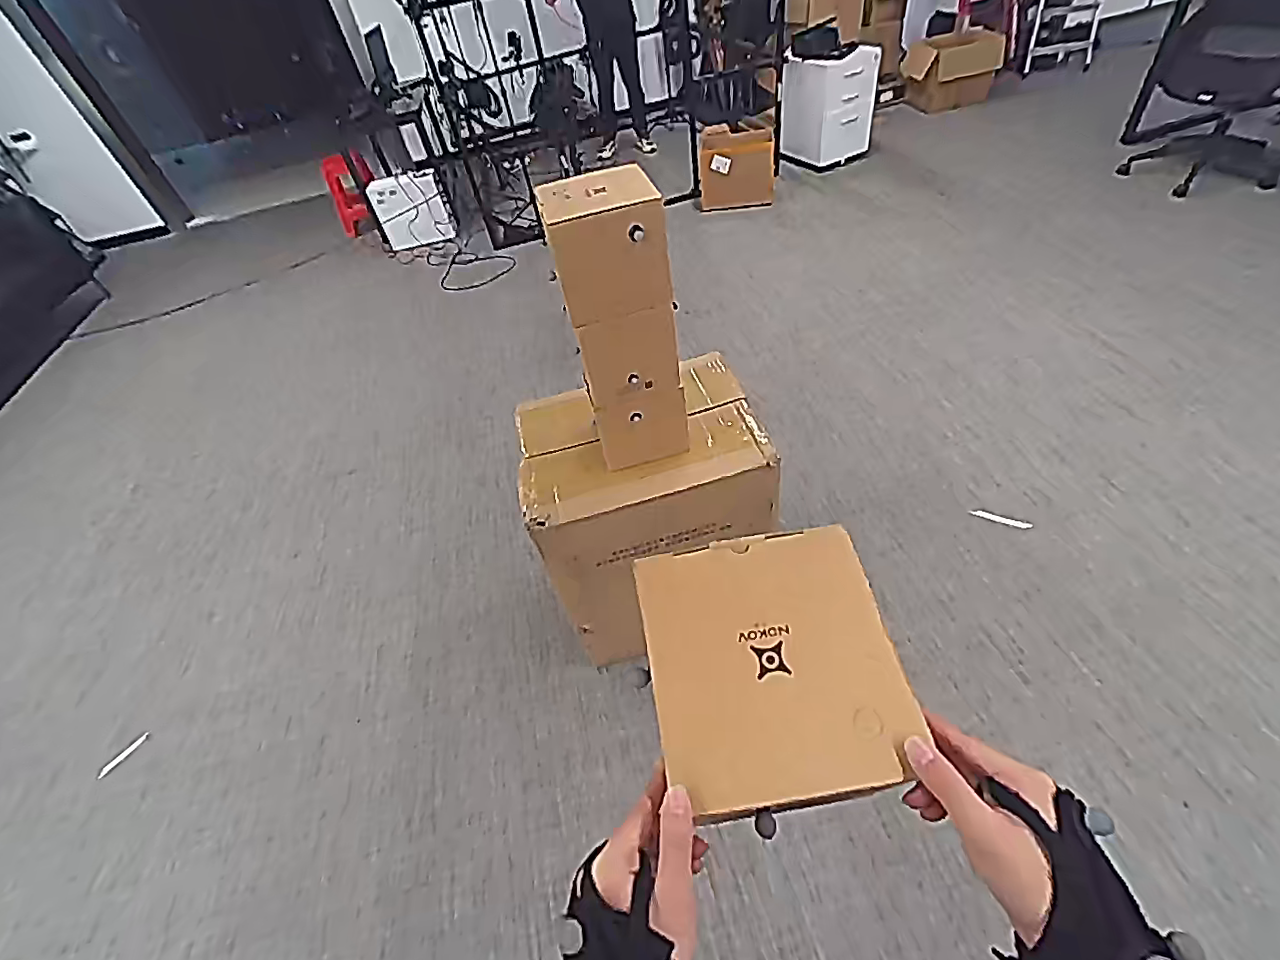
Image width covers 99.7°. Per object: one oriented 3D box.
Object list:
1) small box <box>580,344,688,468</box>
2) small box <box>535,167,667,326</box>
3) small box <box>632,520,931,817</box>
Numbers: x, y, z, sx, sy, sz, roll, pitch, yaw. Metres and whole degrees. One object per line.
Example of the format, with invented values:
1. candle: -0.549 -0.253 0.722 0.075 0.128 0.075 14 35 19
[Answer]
1. small box: -0.010 -0.148 1.112 0.179 0.176 0.168 -15 46 -4
2. small box: -0.059 -0.377 0.880 0.179 0.176 0.168 -16 46 -3
3. small box: 0.093 0.159 0.434 0.168 0.176 0.179 -10 54 1
